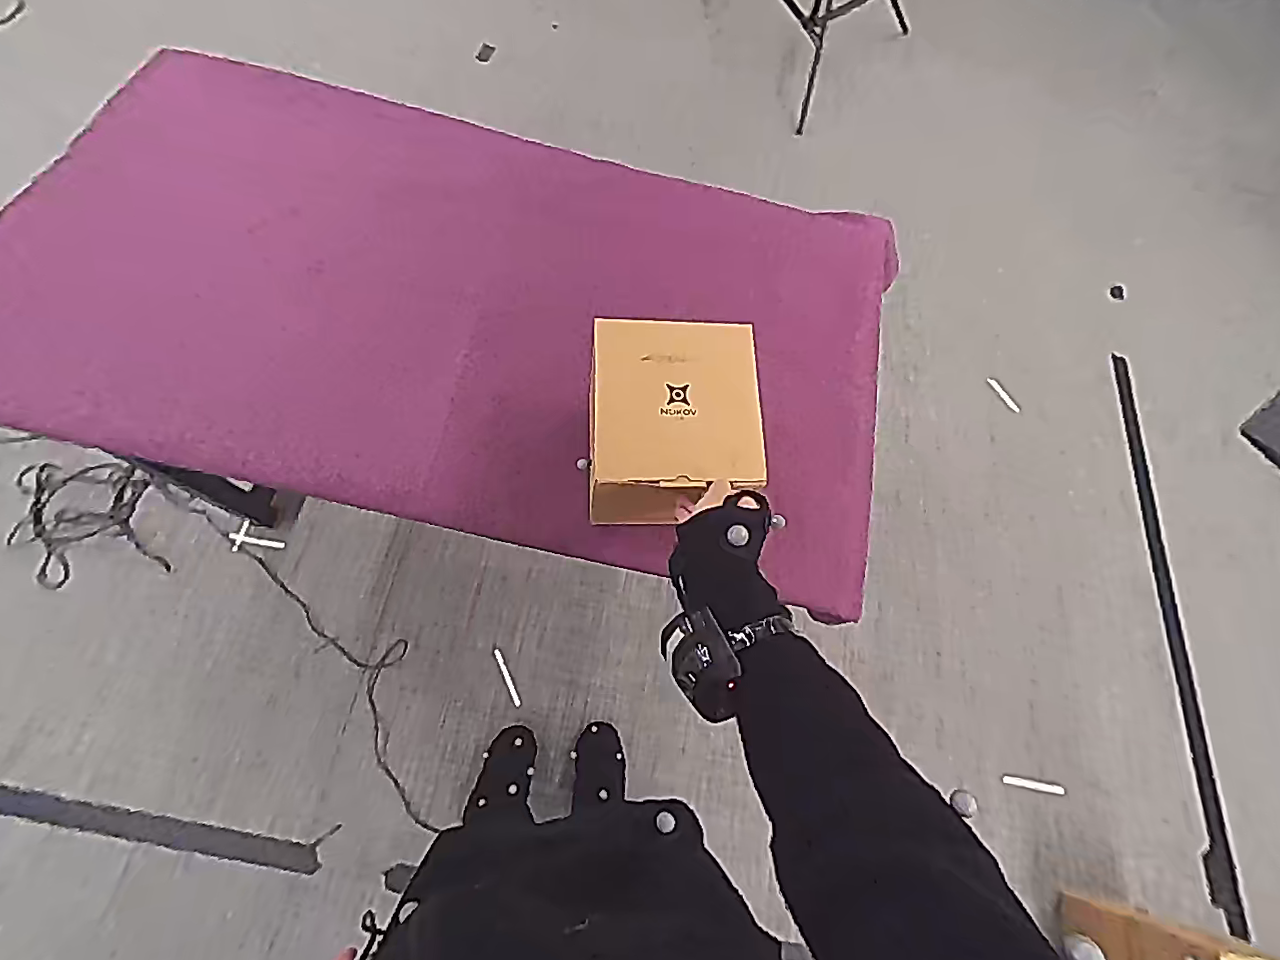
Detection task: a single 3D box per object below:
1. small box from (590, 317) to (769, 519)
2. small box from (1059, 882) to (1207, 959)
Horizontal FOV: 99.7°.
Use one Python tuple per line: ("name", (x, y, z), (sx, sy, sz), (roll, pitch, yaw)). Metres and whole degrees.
("small box", (0.031, -0.056, 0.600), (0.168, 0.176, 0.179), (0, 72, -7))
("small box", (1.002, 0.960, 1.107), (0.168, 0.176, 0.179), (12, 69, -1))
